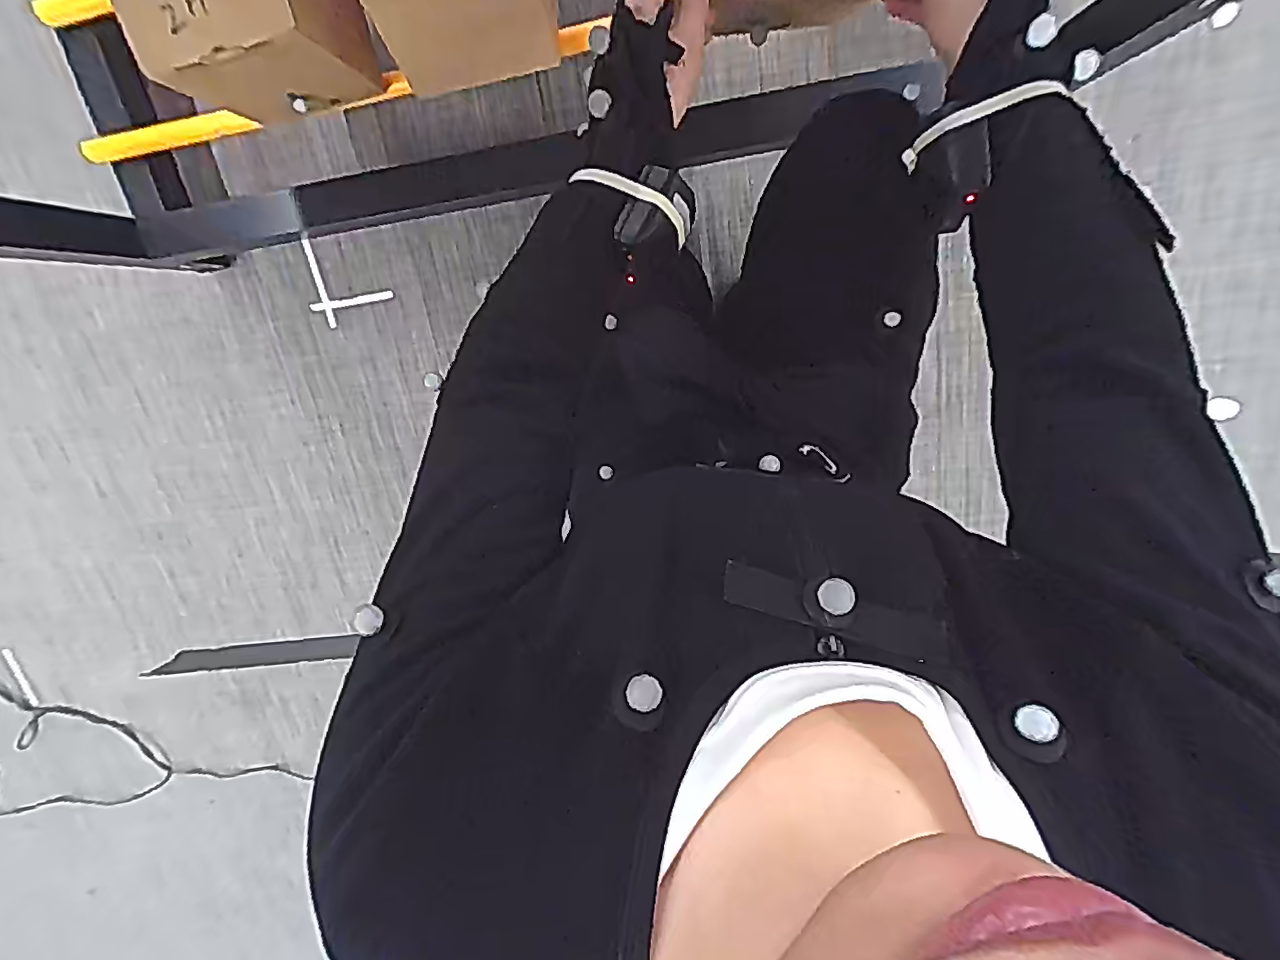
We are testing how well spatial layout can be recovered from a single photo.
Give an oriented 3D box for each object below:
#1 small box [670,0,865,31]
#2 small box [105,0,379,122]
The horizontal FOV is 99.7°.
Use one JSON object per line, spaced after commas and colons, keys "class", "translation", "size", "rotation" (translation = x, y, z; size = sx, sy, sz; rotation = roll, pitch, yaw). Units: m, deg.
{"class": "small box", "translation": [0.105, -0.453, 0.383], "size": [0.168, 0.176, 0.179], "rotation": [-4, 121, 1]}
{"class": "small box", "translation": [-0.402, -0.500, 0.544], "size": [0.168, 0.176, 0.179], "rotation": [-10, 108, 7]}
